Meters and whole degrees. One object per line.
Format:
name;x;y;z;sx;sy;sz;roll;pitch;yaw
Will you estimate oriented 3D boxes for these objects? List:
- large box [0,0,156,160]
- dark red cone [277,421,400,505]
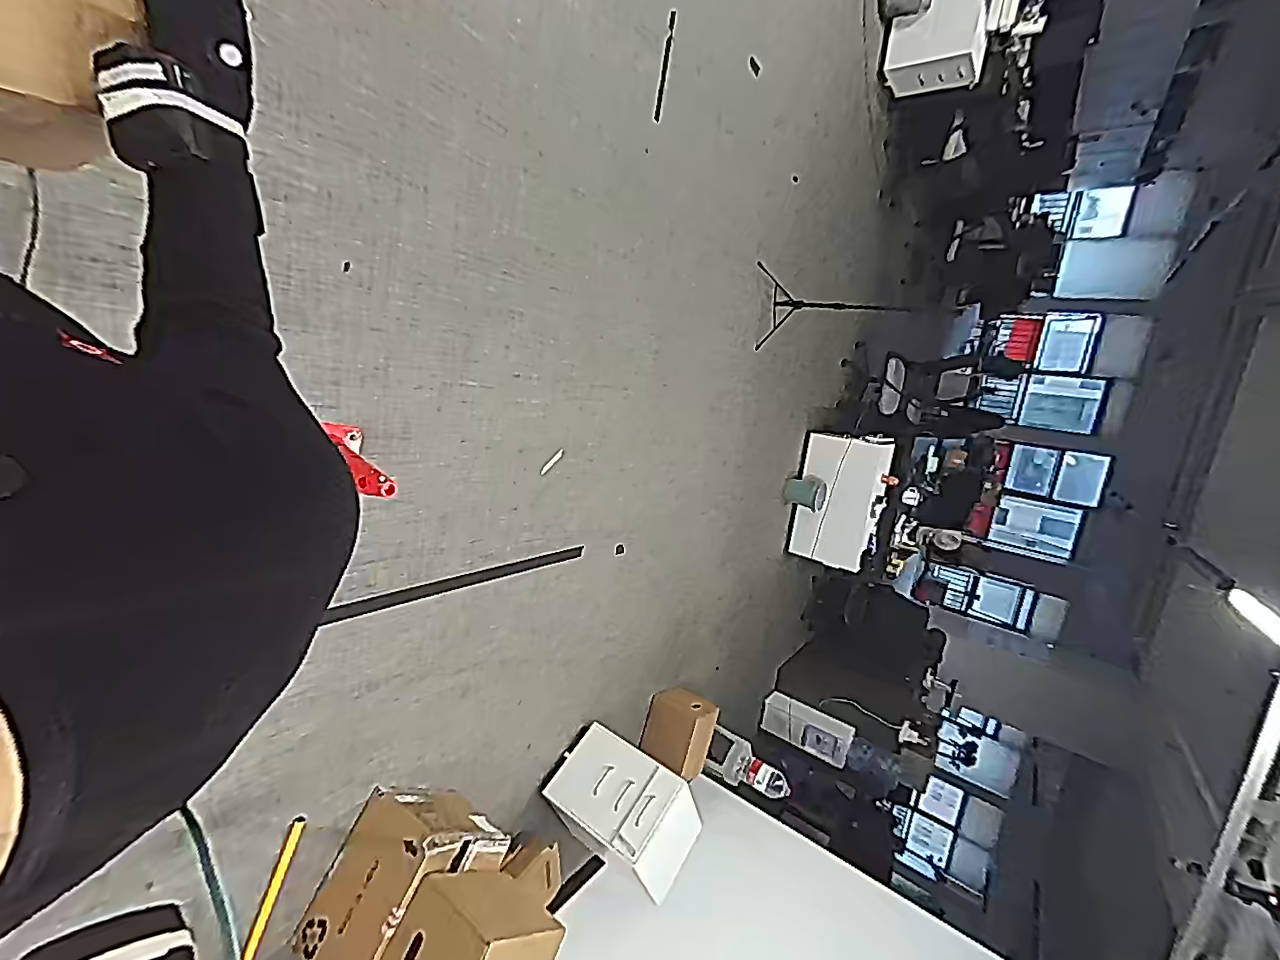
large box;-0.587;-0.408;0.284;0.408;0.320;0.320;-18;117;-53
dark red cone;-0.699;-0.009;1.312;0.201;0.394;0.202;4;99;-54
